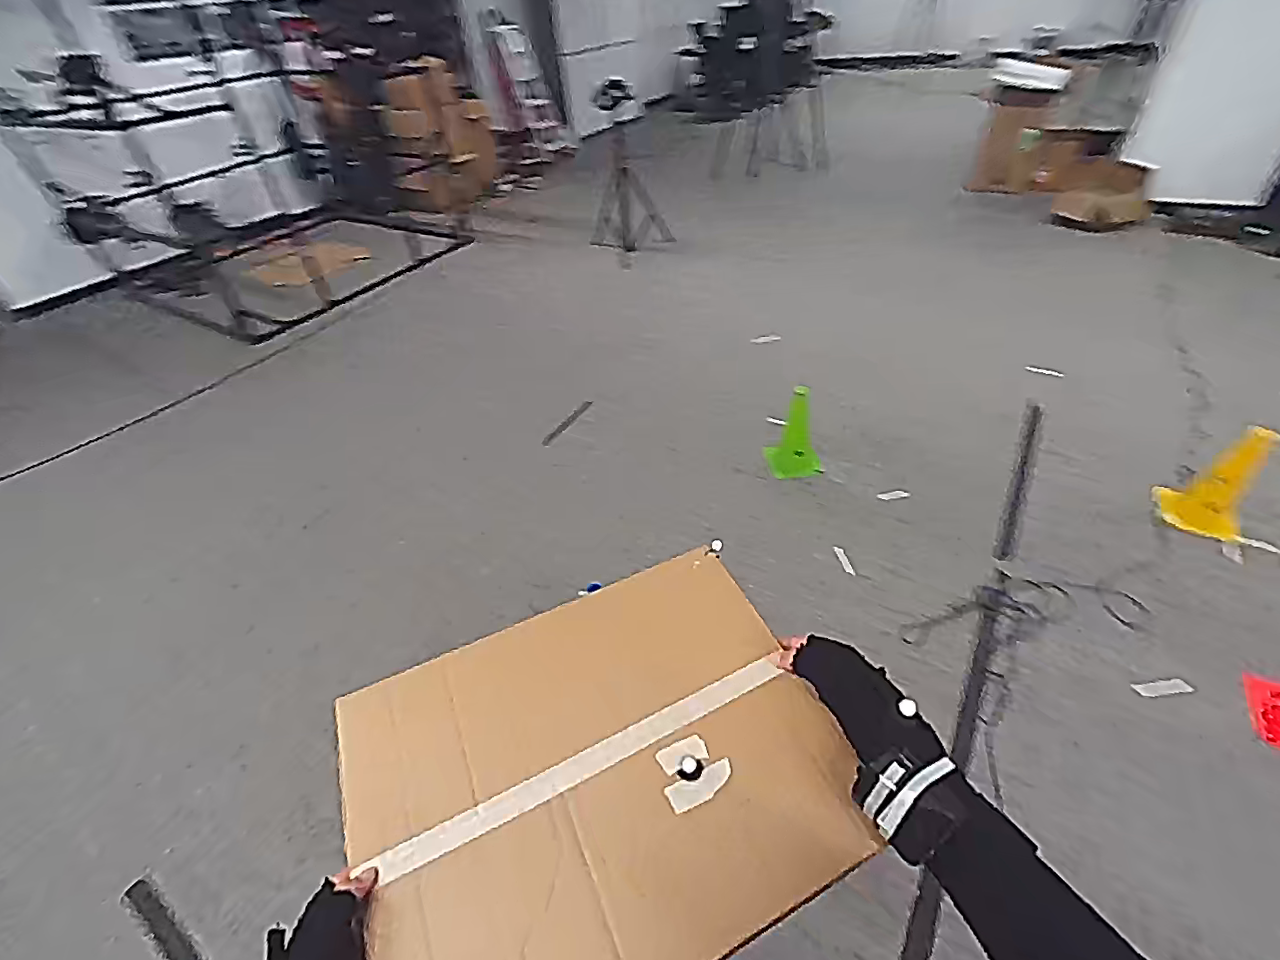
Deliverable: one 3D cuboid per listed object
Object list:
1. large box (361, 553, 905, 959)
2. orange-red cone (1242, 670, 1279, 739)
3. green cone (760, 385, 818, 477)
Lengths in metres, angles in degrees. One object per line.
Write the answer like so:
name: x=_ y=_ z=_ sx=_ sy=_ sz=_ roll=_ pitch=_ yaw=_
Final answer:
large box: x=-0.022 y=0.349 z=0.580 sx=0.408 sy=0.320 sz=0.320 roll=-19 pitch=49 yaw=-16
orange-red cone: x=1.645 y=0.463 z=1.247 sx=0.198 sy=0.360 sz=0.199 roll=18 pitch=46 yaw=24
green cone: x=0.599 y=-0.218 z=2.145 sx=0.202 sy=0.368 sz=0.200 roll=-9 pitch=41 yaw=0
